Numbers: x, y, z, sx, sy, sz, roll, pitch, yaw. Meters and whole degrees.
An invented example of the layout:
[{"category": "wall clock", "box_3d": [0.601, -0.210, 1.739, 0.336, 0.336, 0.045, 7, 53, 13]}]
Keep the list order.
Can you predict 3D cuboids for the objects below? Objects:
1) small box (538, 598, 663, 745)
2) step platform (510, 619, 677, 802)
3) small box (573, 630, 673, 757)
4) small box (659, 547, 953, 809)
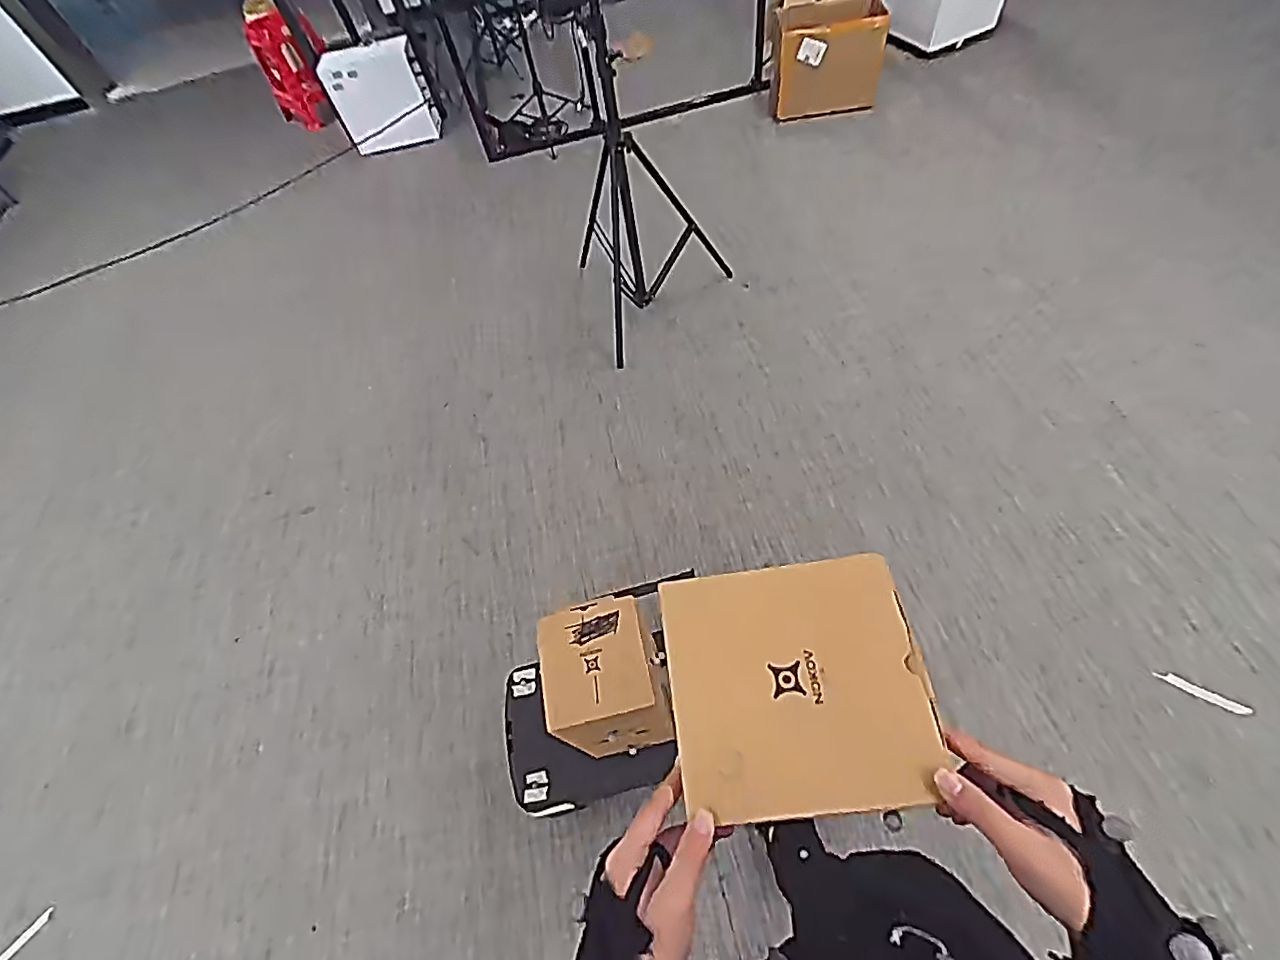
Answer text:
[{"category": "small box", "box_3d": [-0.063, 0.322, 0.900, 0.168, 0.176, 0.179, -14, 57, 0]}, {"category": "step platform", "box_3d": [0.063, 0.470, 1.189, 0.684, 0.204, 0.286, -15, 56, 0]}, {"category": "small box", "box_3d": [-0.038, 0.413, 1.035, 0.168, 0.176, 0.179, -14, 57, 1]}, {"category": "small box", "box_3d": [0.118, 0.171, 0.455, 0.179, 0.176, 0.168, -9, 62, 4]}]
